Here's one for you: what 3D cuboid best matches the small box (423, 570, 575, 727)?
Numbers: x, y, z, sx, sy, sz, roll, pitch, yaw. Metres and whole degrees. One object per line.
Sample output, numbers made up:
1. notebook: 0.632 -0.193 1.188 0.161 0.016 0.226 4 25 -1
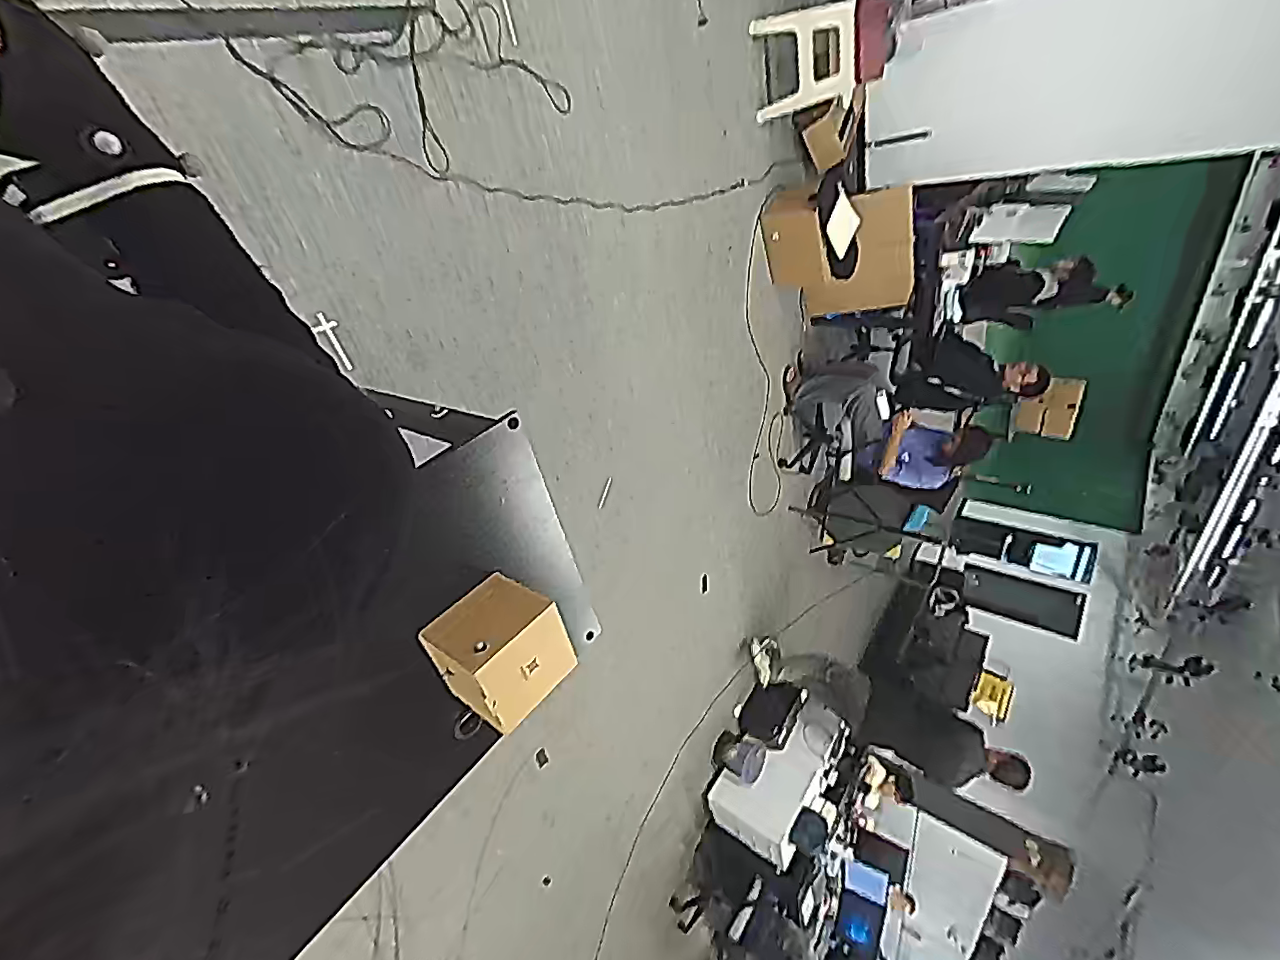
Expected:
1. small box: -0.250 0.291 0.970 0.179 0.176 0.168 -40 131 -36
